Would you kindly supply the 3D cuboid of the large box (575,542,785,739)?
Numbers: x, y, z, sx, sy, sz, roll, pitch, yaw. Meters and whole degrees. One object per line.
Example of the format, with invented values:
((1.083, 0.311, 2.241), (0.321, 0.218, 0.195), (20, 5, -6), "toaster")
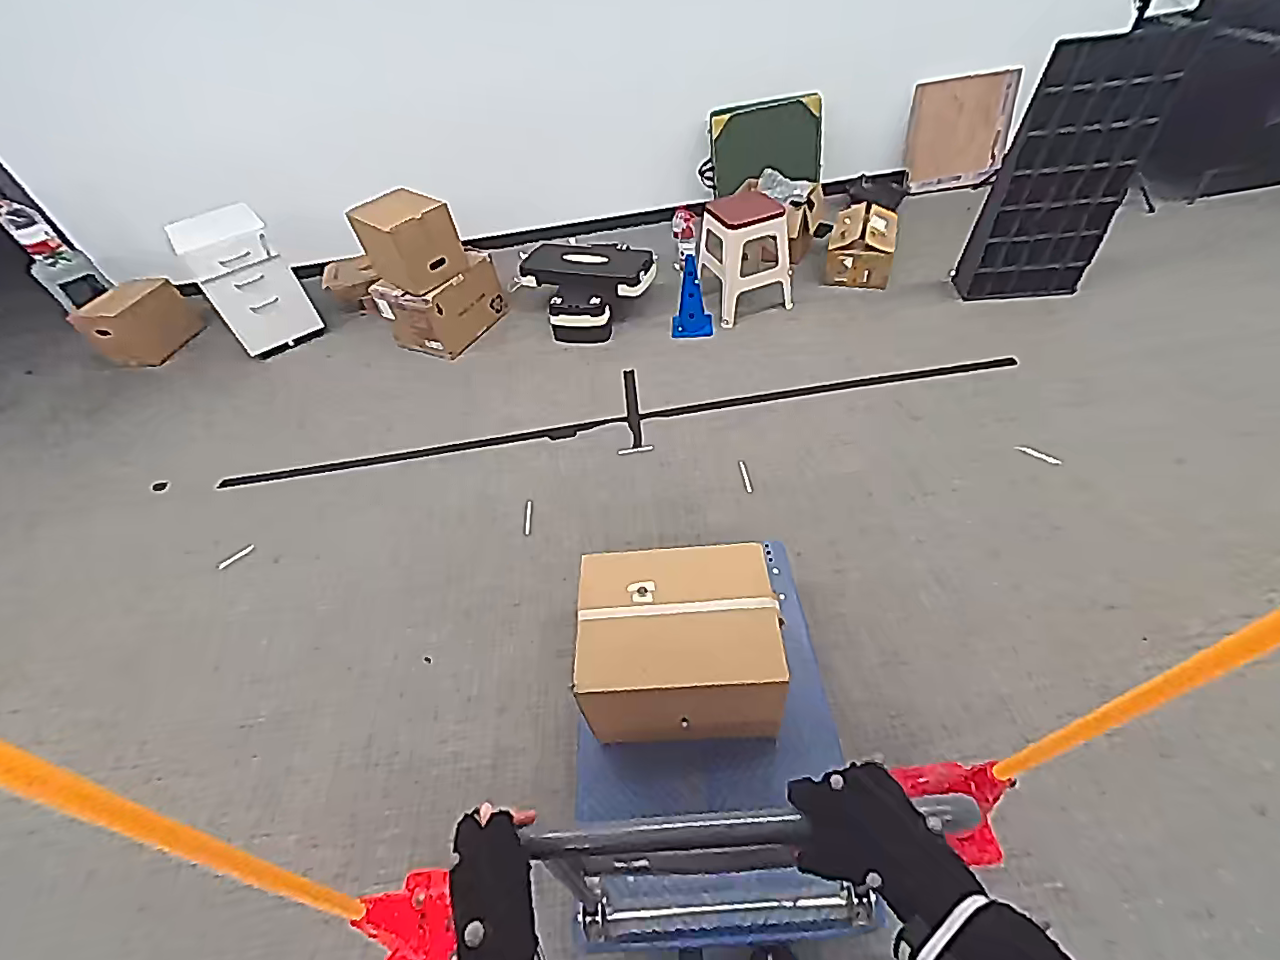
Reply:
((0.088, 0.369, 1.219), (0.408, 0.320, 0.320), (-6, 47, 5), "large box")

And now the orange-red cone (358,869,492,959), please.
((-0.453, 0.856, 1.059), (0.198, 0.360, 0.199), (-2, 46, 6), "orange-red cone")

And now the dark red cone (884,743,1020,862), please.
((0.654, 0.611, 1.077), (0.201, 0.394, 0.202), (-7, 47, 0), "dark red cone")
